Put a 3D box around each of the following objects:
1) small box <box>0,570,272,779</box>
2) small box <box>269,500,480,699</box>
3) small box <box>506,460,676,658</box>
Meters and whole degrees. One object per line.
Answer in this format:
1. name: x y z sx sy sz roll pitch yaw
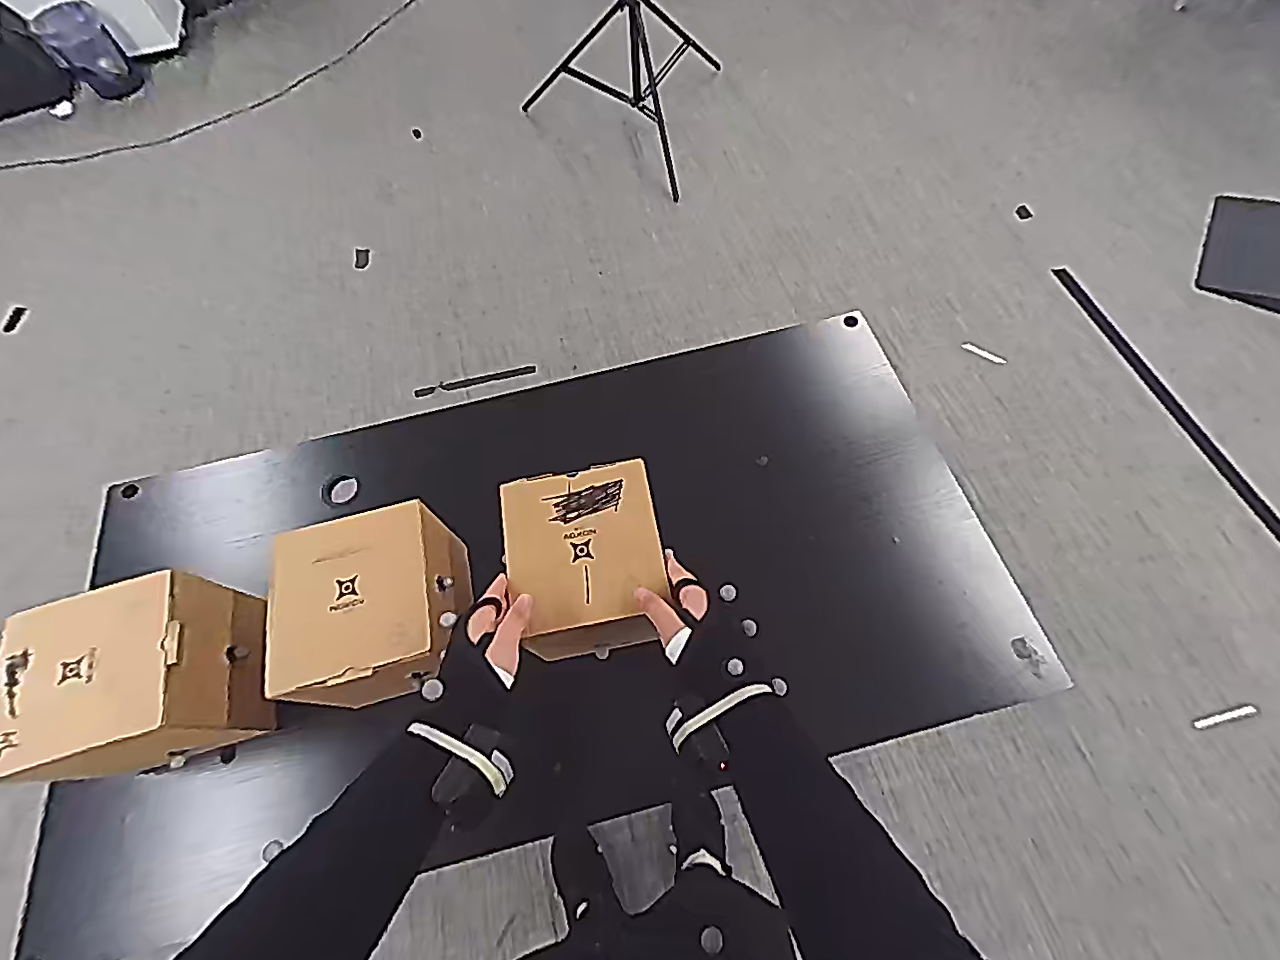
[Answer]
1. small box: -0.551 0.222 0.616 0.179 0.176 0.168 -15 64 -6
2. small box: -0.300 0.150 0.639 0.168 0.176 0.179 -14 64 -5
3. small box: -0.055 0.101 0.648 0.168 0.176 0.179 -10 65 -2
